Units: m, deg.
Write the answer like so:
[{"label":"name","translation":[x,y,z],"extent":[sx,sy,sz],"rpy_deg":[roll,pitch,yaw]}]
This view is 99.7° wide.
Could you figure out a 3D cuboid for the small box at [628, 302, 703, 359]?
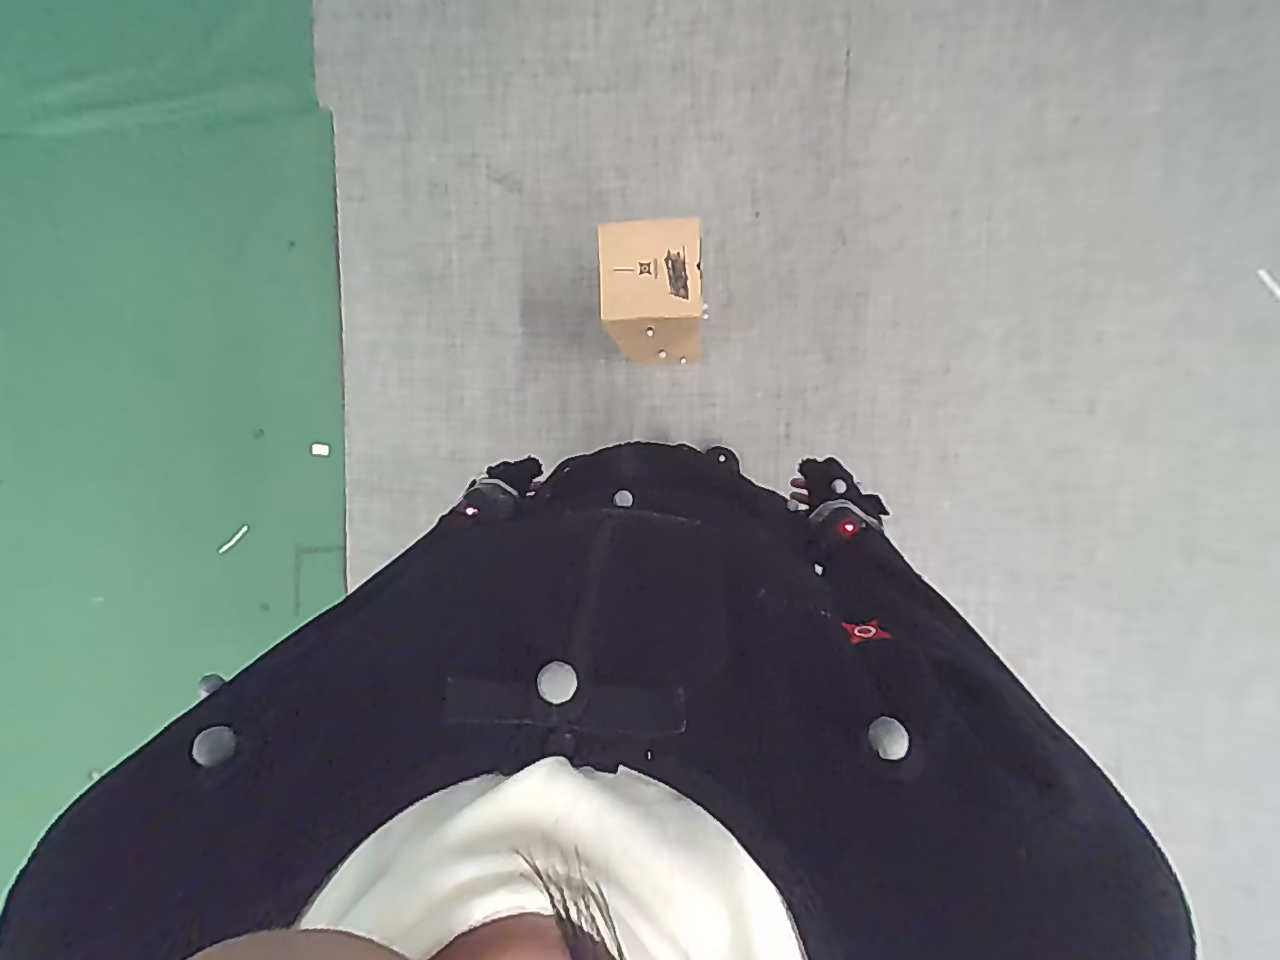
[{"label":"small box","translation":[0.066,-0.392,1.321],"extent":[0.179,0.176,0.168],"rpy_deg":[-1,93,8]}]

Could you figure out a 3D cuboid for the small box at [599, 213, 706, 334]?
[{"label":"small box","translation":[0.027,-0.371,0.993],"extent":[0.179,0.176,0.168],"rpy_deg":[2,92,6]}]
